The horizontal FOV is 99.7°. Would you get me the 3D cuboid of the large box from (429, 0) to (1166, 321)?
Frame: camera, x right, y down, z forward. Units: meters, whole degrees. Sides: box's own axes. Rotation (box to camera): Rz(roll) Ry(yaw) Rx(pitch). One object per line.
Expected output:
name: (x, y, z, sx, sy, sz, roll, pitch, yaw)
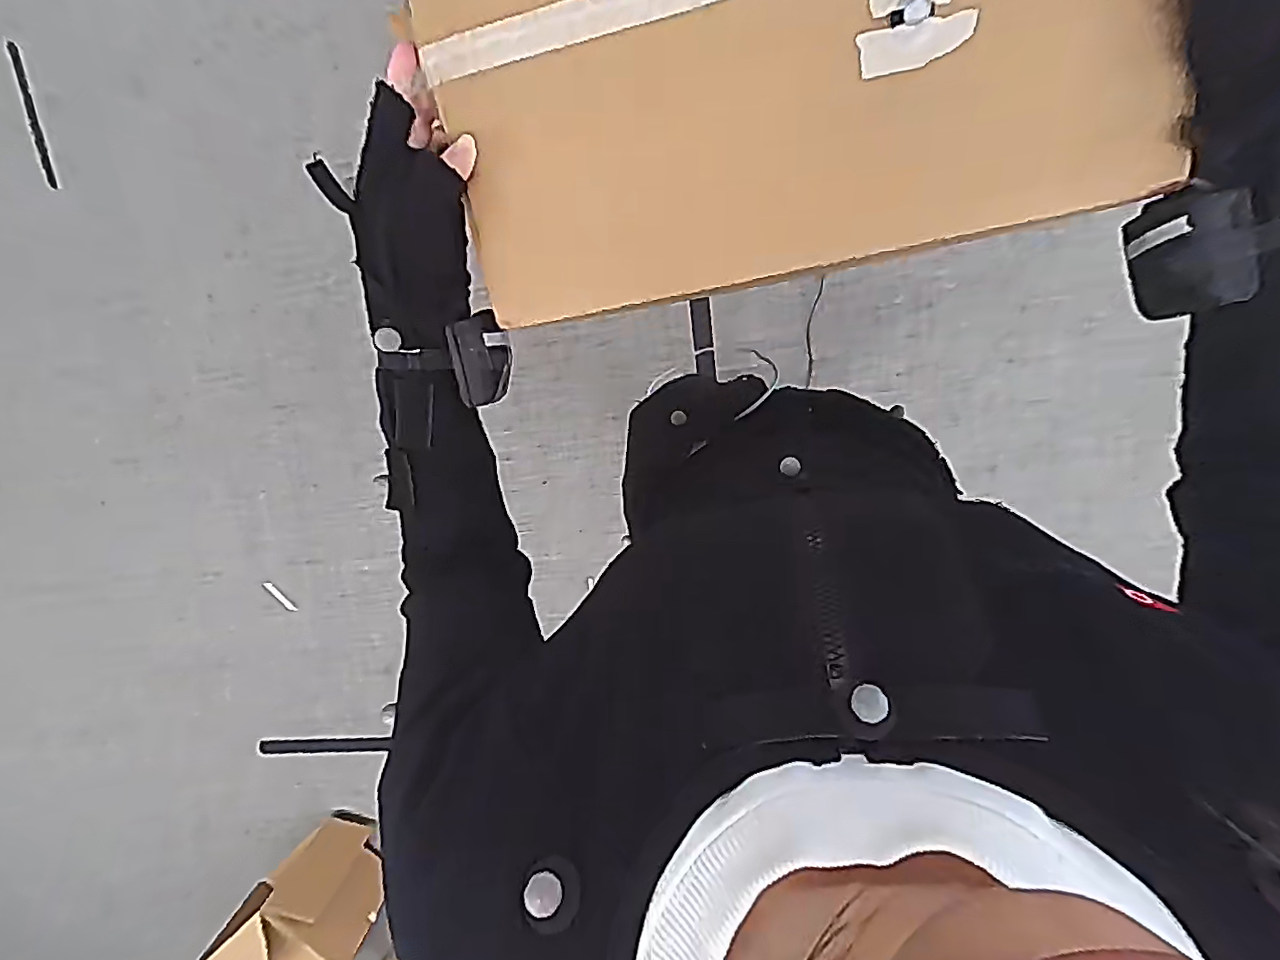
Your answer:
large box: (0.088, -0.330, 0.443, 0.408, 0.320, 0.320, -9, 107, 9)
